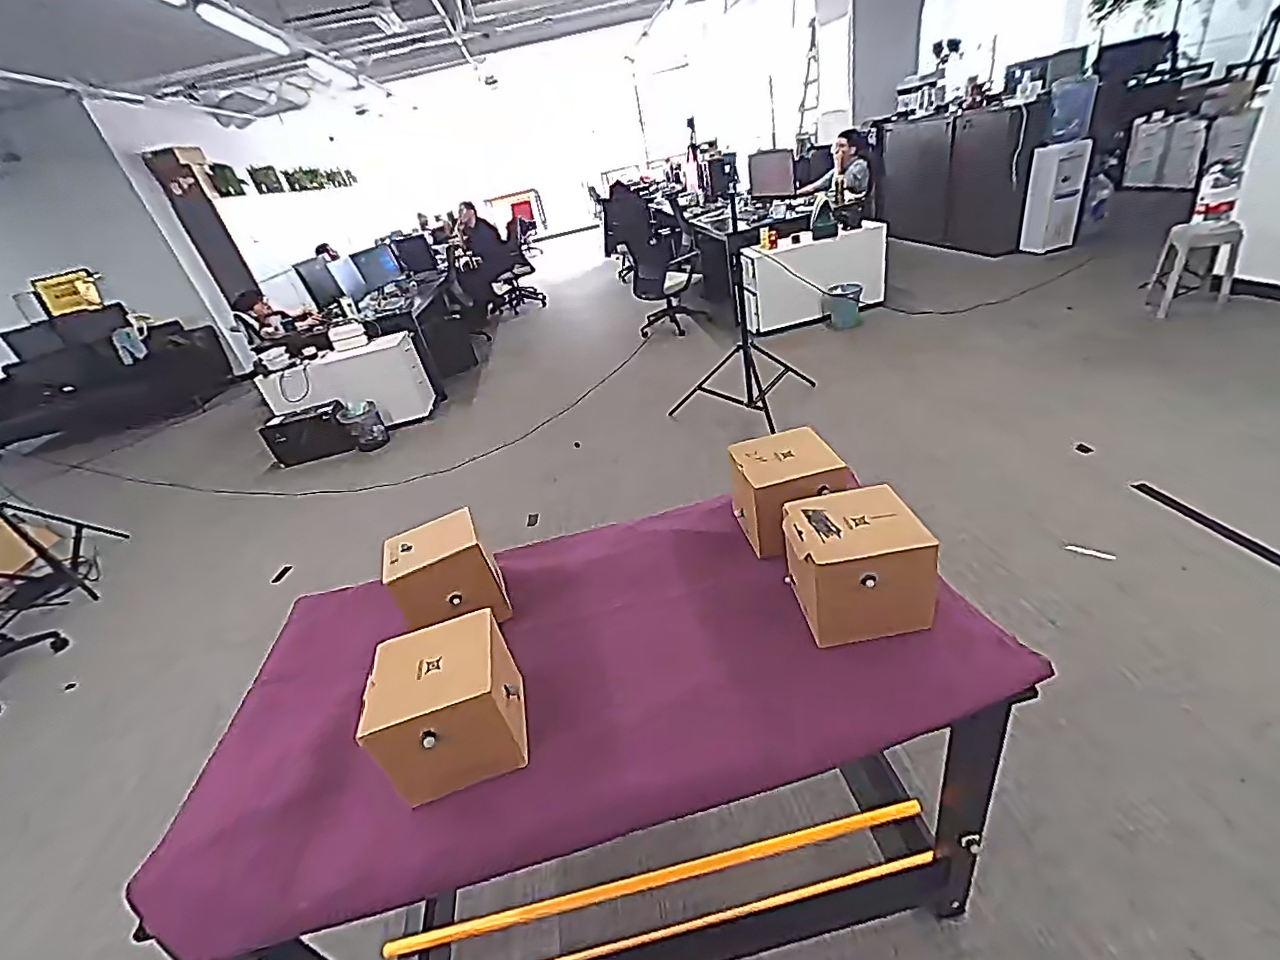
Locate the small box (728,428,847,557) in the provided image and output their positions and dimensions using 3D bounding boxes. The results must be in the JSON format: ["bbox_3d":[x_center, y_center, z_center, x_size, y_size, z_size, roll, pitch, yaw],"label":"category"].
[{"bbox_3d":[0.284,0.023,1.057,0.179,0.176,0.168,-14,32,-2],"label":"small box"}]

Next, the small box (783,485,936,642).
[{"bbox_3d":[0.340,0.134,0.857,0.179,0.176,0.168,-11,30,3],"label":"small box"}]

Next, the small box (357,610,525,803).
[{"bbox_3d":[-0.273,0.327,0.788,0.179,0.176,0.168,-18,31,-6],"label":"small box"}]
